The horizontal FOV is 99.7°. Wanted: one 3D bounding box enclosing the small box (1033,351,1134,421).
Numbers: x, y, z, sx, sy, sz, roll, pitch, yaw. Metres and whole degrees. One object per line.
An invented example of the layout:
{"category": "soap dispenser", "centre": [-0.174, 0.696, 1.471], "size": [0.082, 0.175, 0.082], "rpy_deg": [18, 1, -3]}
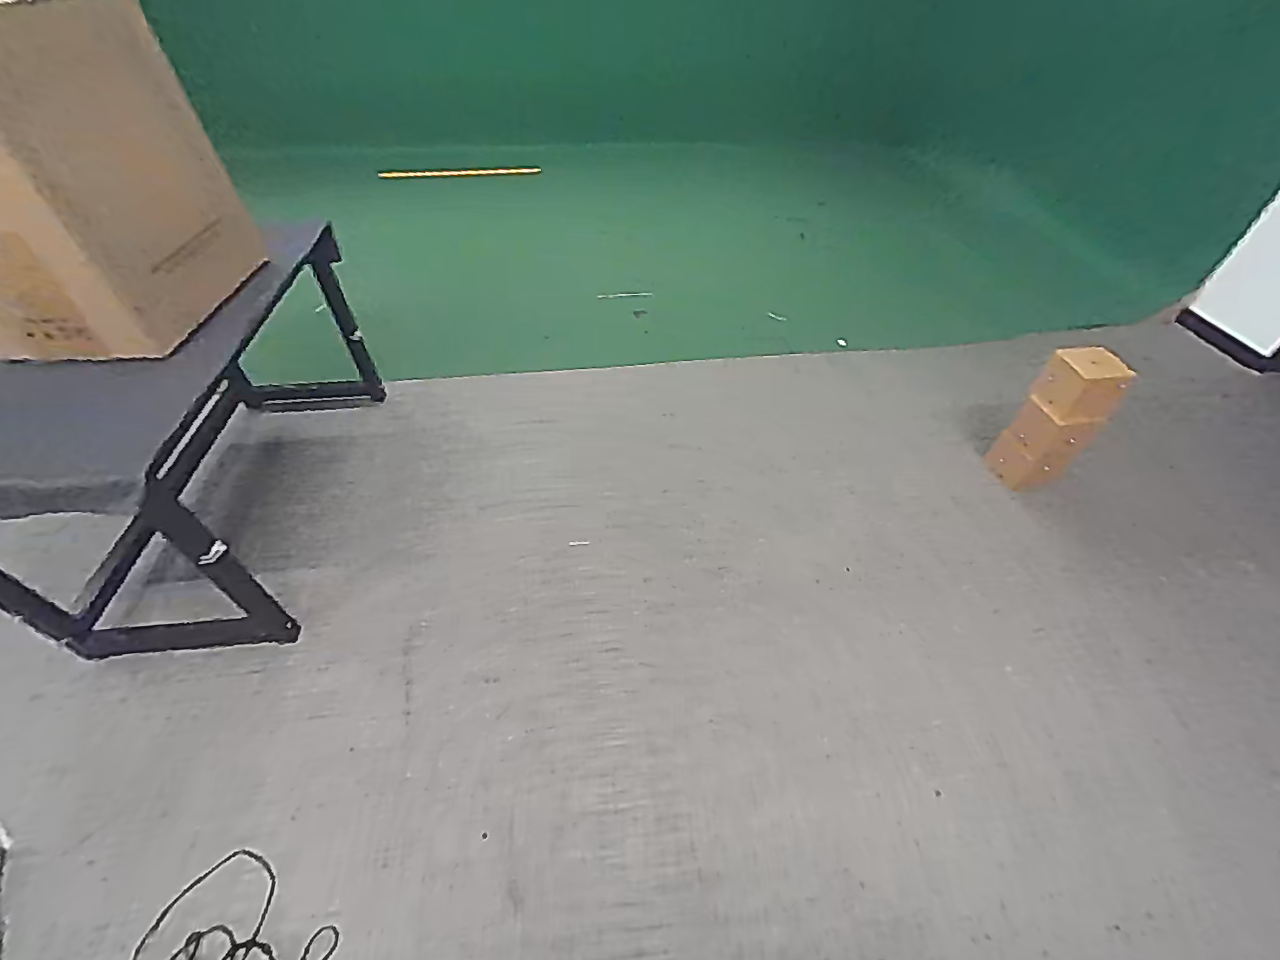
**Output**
{"category": "small box", "centre": [1.457, -0.310, 1.797], "size": [0.179, 0.176, 0.168], "rpy_deg": [-4, 47, -4]}
